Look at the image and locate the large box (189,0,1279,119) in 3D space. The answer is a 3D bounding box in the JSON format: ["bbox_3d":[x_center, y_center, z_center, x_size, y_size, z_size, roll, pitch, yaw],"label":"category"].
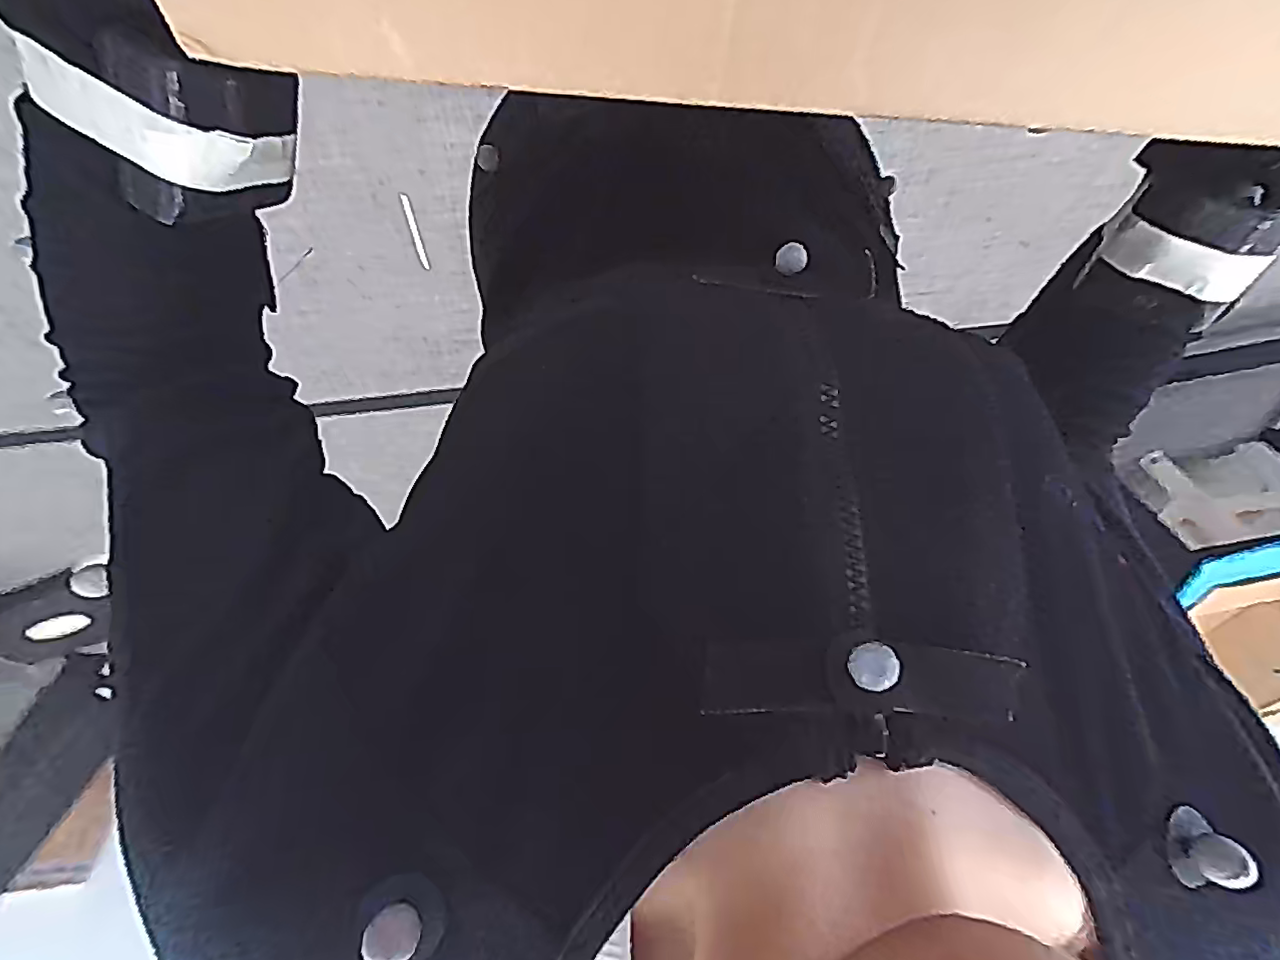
[{"bbox_3d":[0.056,-0.353,0.173,0.408,0.320,0.320,-1,140,-7],"label":"large box"}]
